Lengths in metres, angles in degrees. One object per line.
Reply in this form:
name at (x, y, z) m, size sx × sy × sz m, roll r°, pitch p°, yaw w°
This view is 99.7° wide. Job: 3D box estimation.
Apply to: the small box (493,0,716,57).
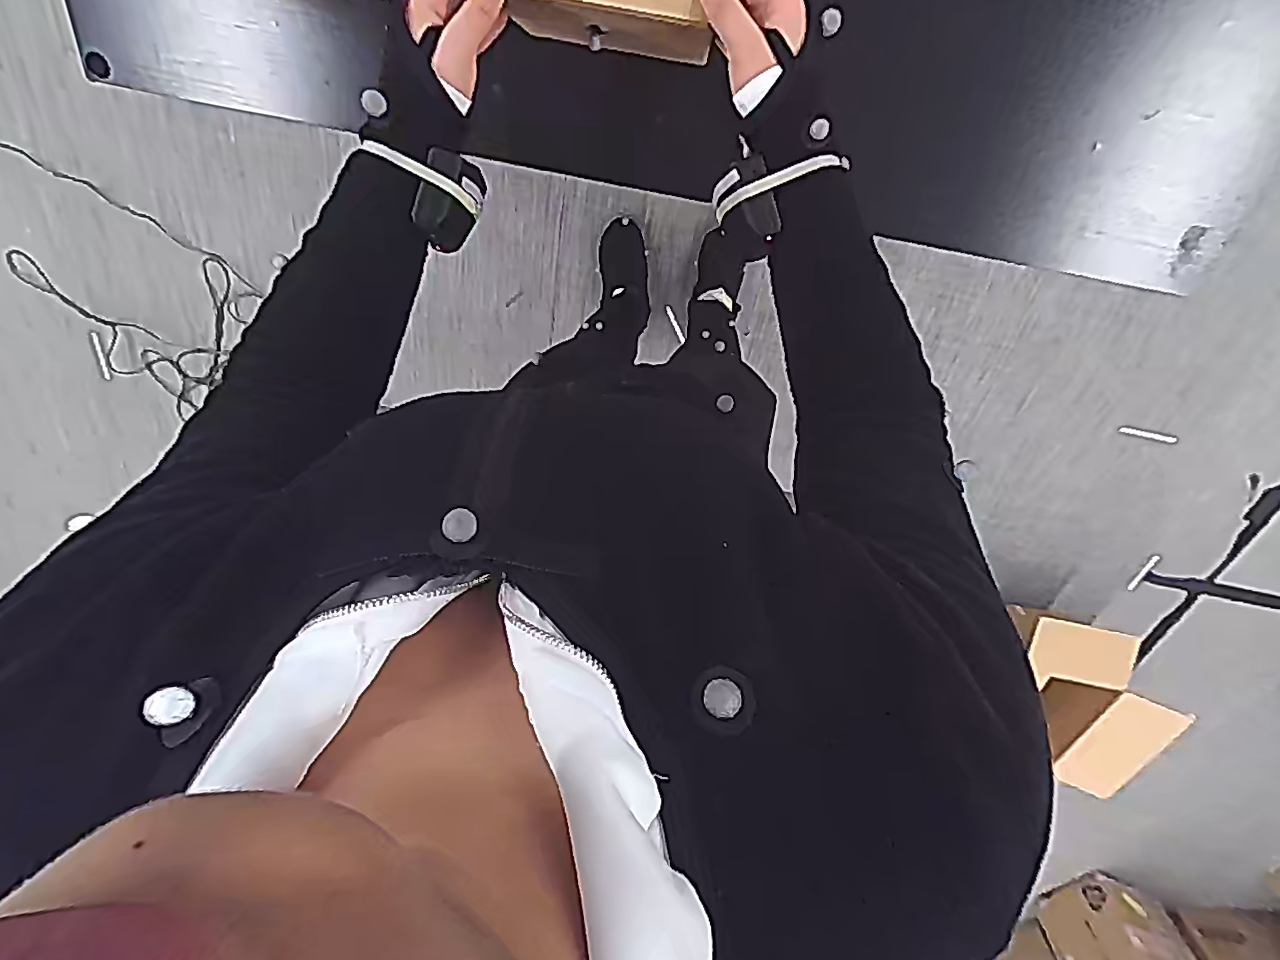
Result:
small box at (-0.017, -0.450, 0.416) m, size 0.179 × 0.176 × 0.168 m, roll 10°, pitch 120°, yaw 0°
